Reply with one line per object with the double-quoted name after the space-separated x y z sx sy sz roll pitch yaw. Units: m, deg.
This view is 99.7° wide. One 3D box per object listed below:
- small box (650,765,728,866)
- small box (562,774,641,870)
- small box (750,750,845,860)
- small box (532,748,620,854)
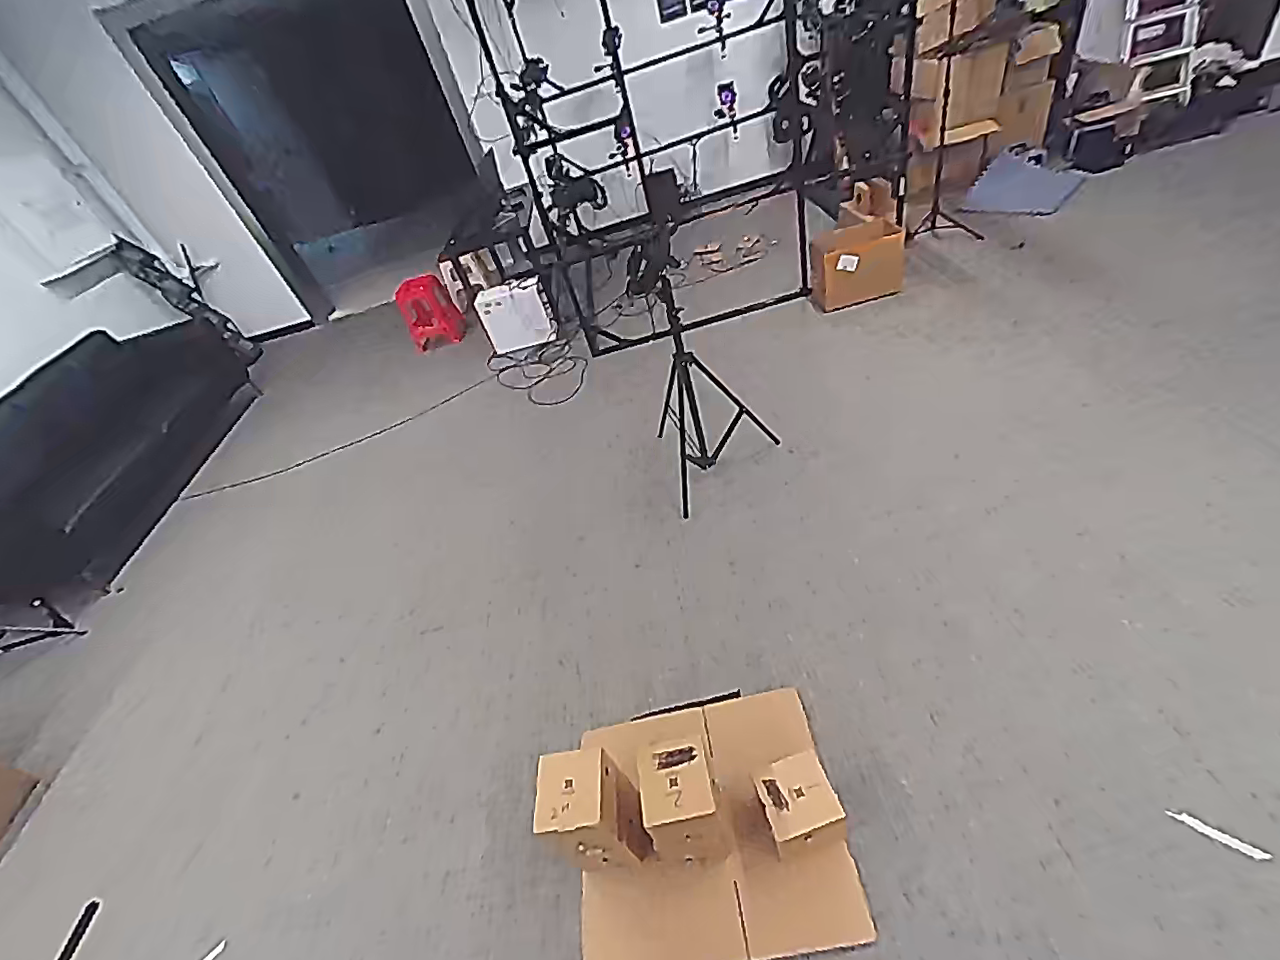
0.125 0.868 1.397 0.168 0.176 0.179 -12 41 8 "small box"
-0.097 0.913 1.435 0.168 0.176 0.179 -14 42 8 "small box"
0.395 0.814 1.350 0.179 0.176 0.168 -20 41 -1 "small box"
-0.150 0.793 1.334 0.168 0.176 0.179 -13 41 9 "small box"
